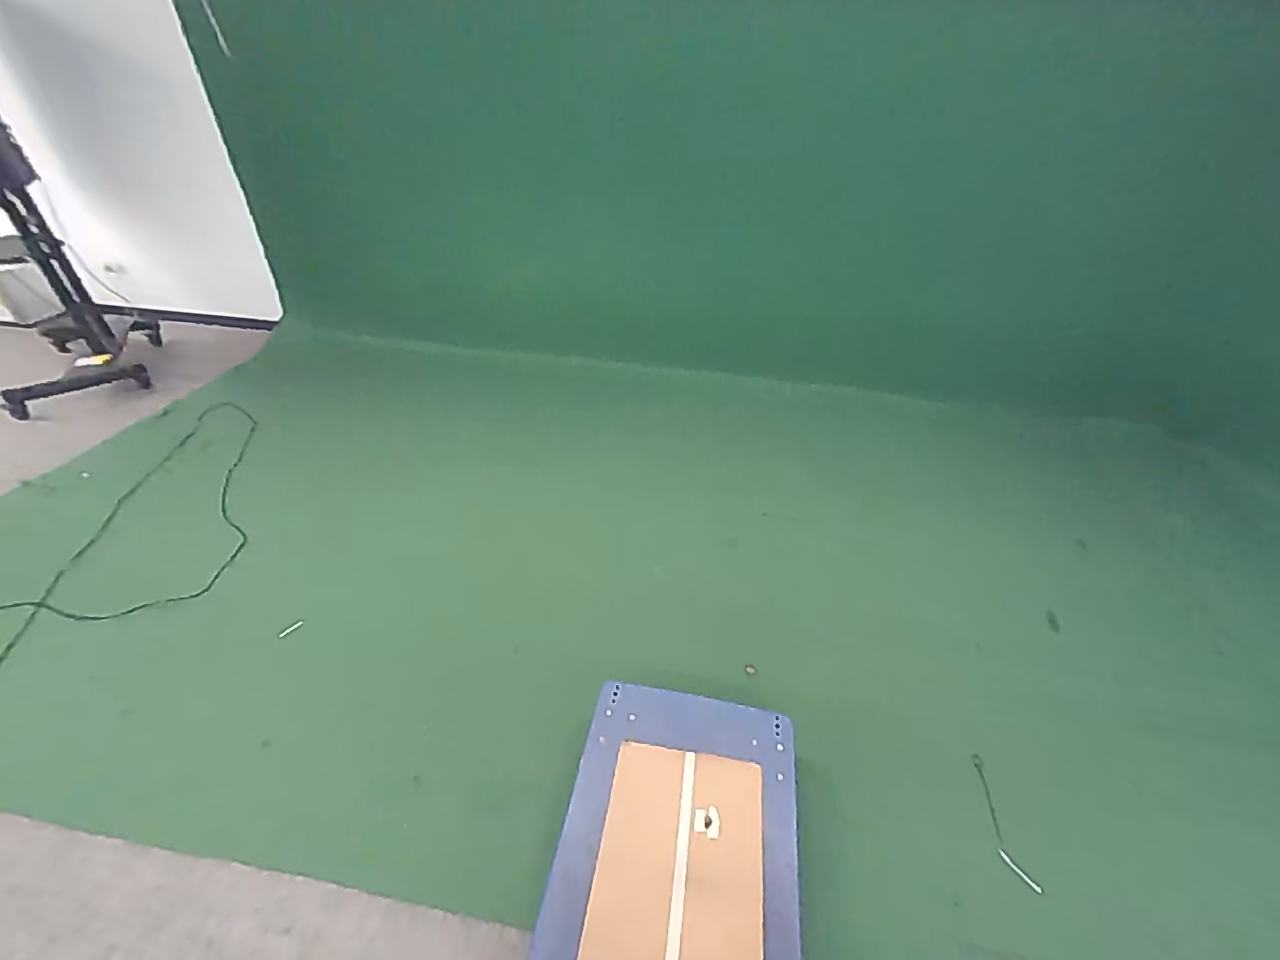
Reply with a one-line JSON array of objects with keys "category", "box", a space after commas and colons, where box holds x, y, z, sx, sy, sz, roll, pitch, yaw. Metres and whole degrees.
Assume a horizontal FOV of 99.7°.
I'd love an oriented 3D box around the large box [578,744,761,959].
[{"category": "large box", "box": [0.071, 0.847, 1.132, 0.320, 0.320, 0.408, 7, 37, 6]}]
